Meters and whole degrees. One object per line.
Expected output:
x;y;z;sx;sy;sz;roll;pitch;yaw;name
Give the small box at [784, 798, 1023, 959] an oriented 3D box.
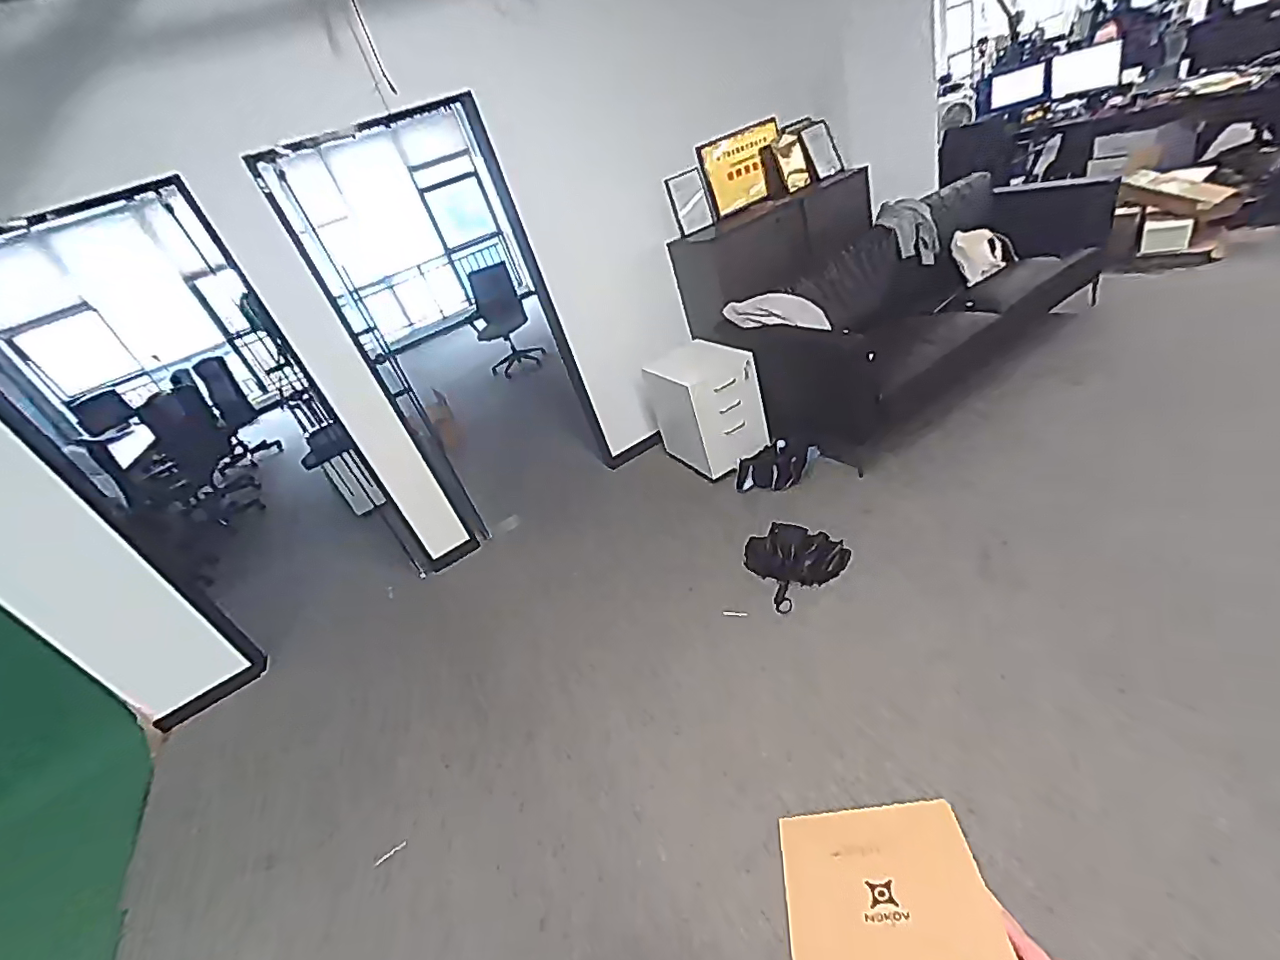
0.236;0.427;0.477;0.168;0.176;0.179;-15;13;13;small box
